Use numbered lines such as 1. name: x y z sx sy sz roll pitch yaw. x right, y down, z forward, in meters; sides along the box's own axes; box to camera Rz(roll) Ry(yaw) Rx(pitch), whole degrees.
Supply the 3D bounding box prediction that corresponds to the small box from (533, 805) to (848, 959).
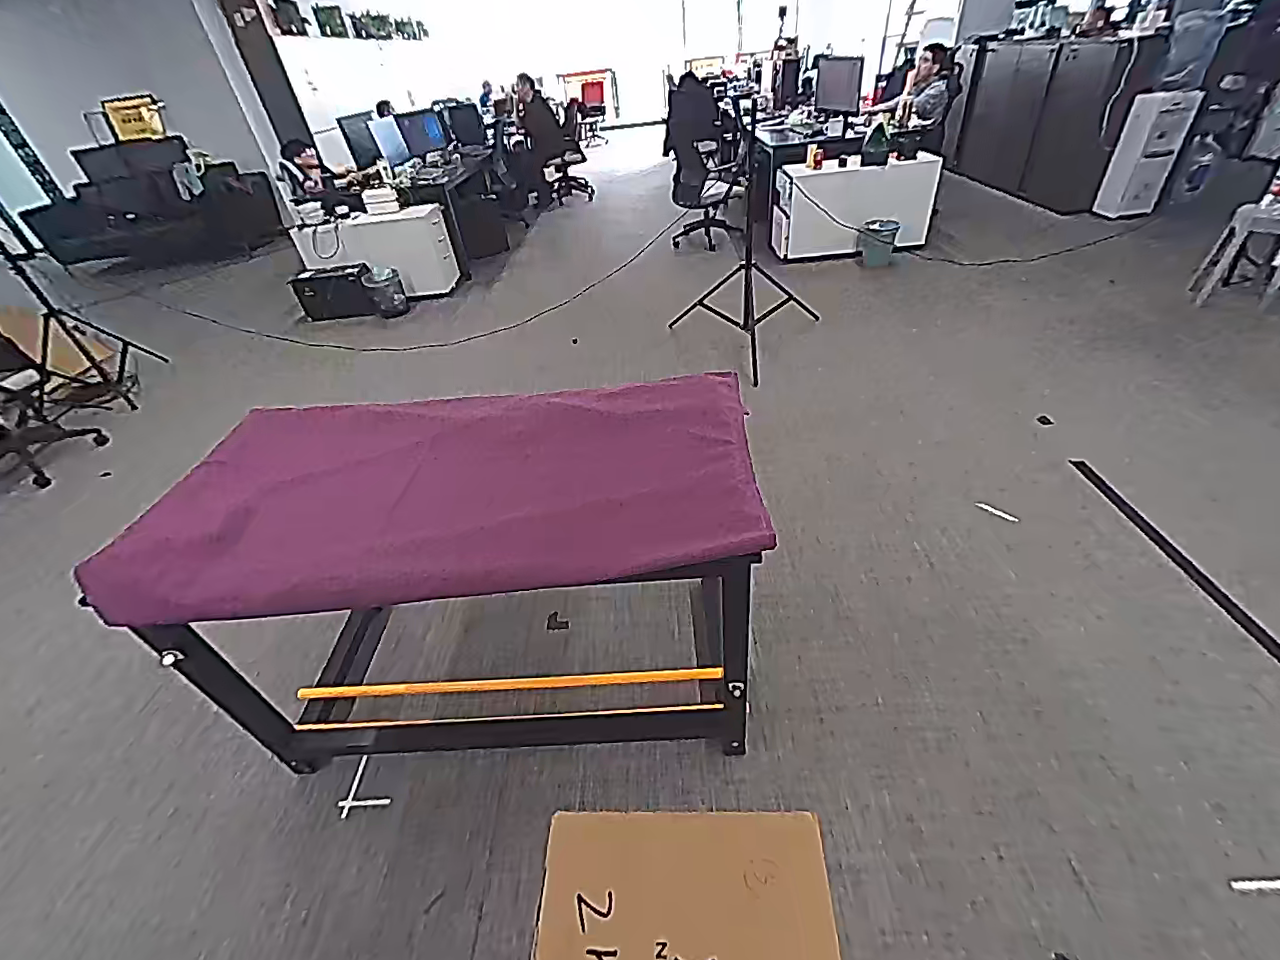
1. small box: 0.037 0.325 0.344 0.179 0.176 0.168 -6 42 9
